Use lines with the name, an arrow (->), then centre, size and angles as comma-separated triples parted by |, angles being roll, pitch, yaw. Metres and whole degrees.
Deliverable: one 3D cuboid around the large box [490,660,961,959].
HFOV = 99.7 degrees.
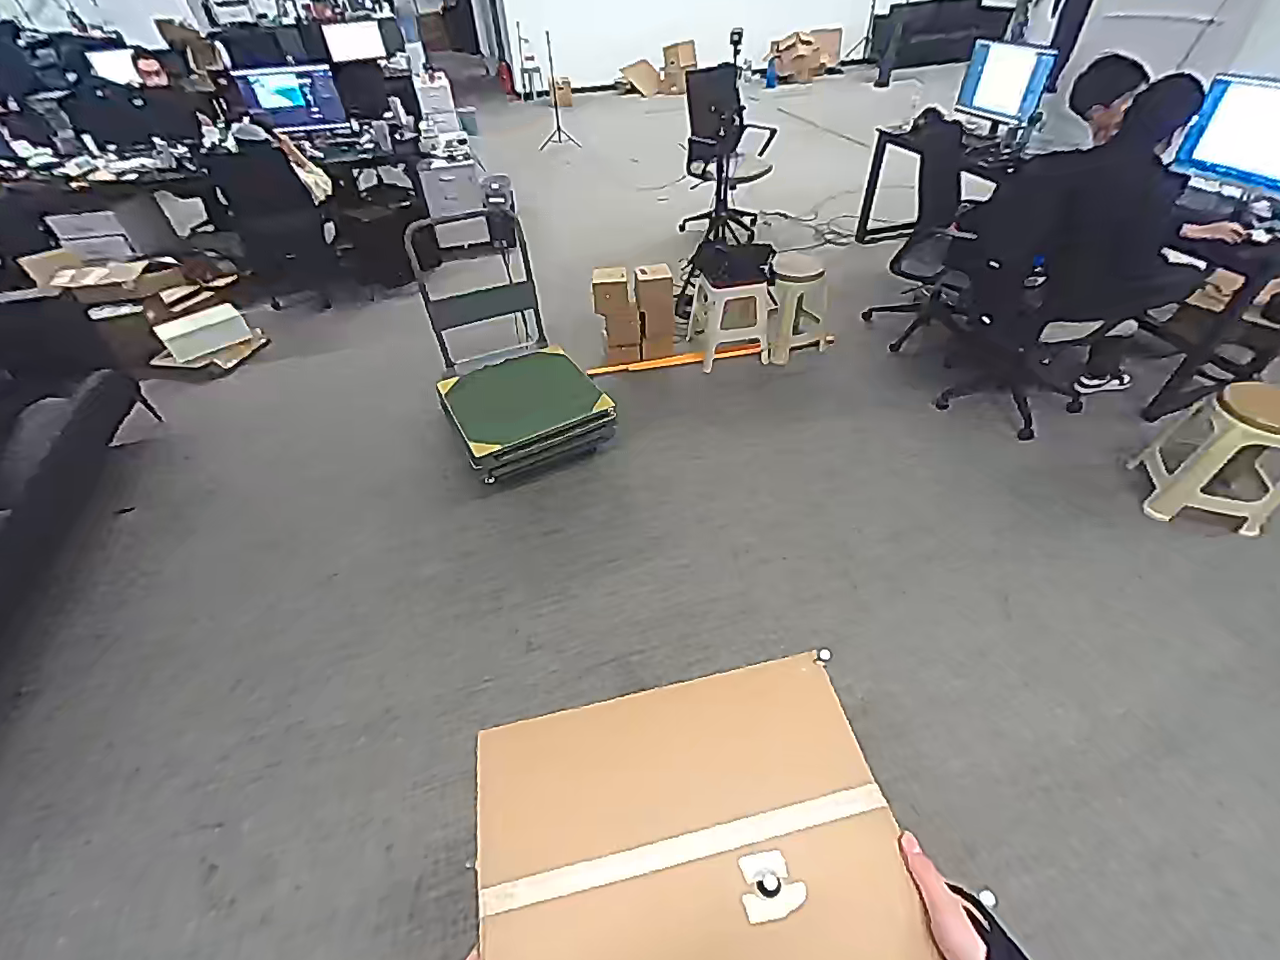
large box -> 0.065, 0.467, 0.641 | 0.408, 0.320, 0.320 | -12, 49, -5
